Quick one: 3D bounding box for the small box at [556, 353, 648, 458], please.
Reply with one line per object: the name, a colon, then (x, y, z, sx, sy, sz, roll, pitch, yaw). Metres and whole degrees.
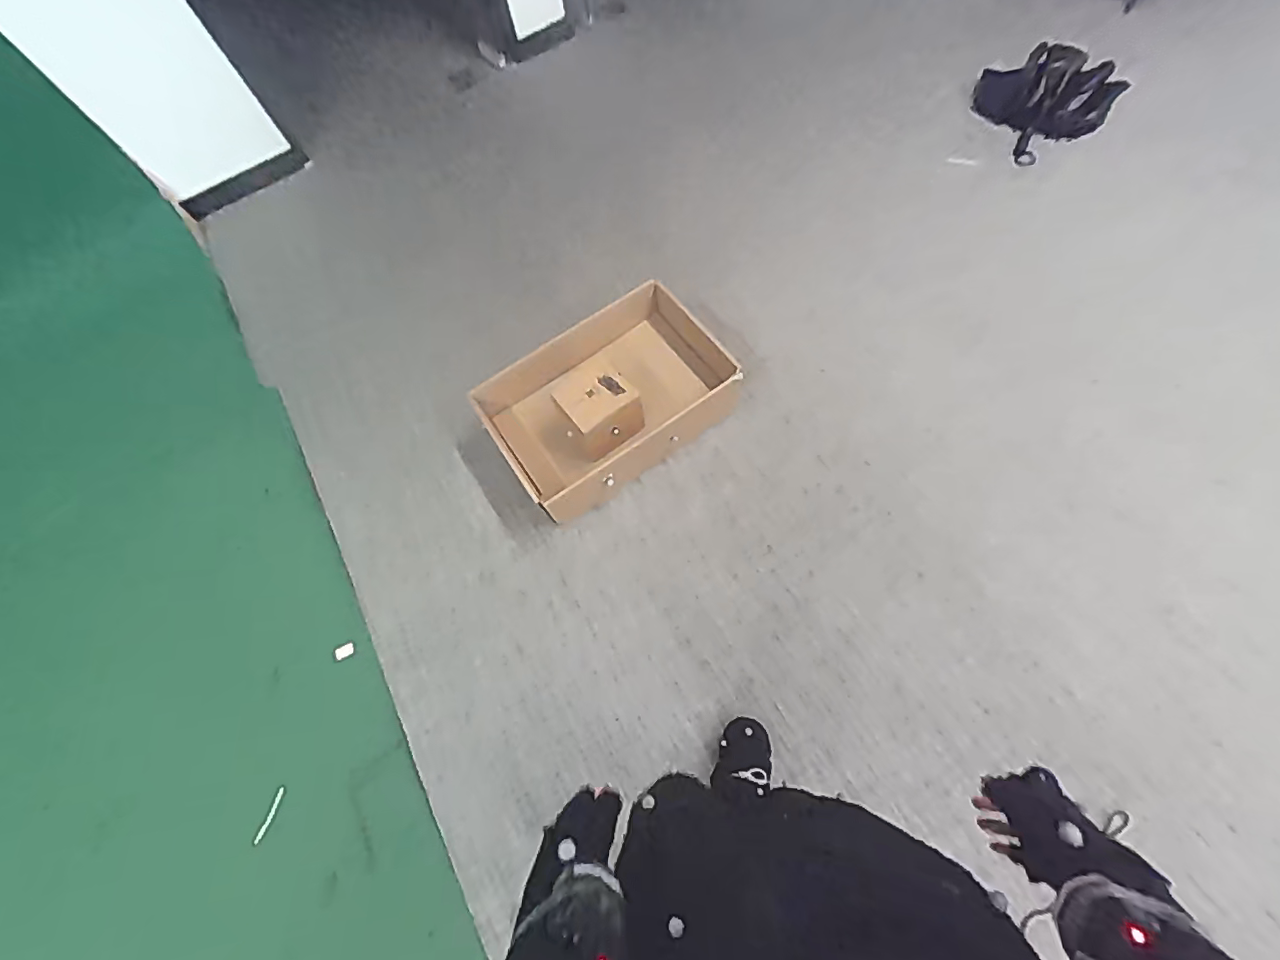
small box: (-0.092, -0.192, 1.427, 0.179, 0.176, 0.168, -36, 68, -8)
